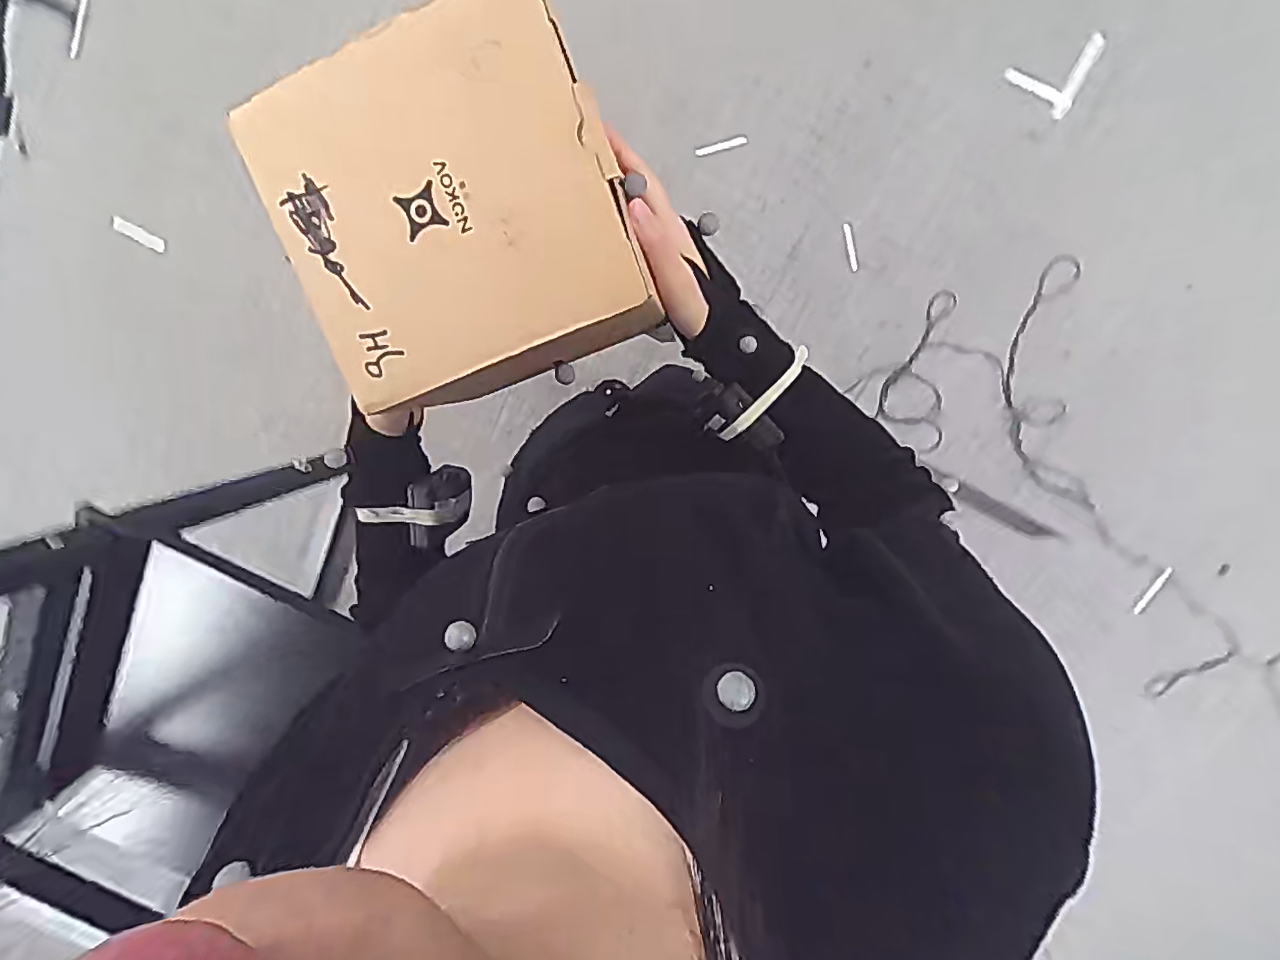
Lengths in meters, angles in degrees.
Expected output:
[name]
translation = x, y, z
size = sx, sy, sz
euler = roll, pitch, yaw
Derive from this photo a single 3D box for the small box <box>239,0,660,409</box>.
[small box]
translation = -0.091, -0.156, 0.353
size = 0.179, 0.176, 0.168
euler = -17, 100, 8
